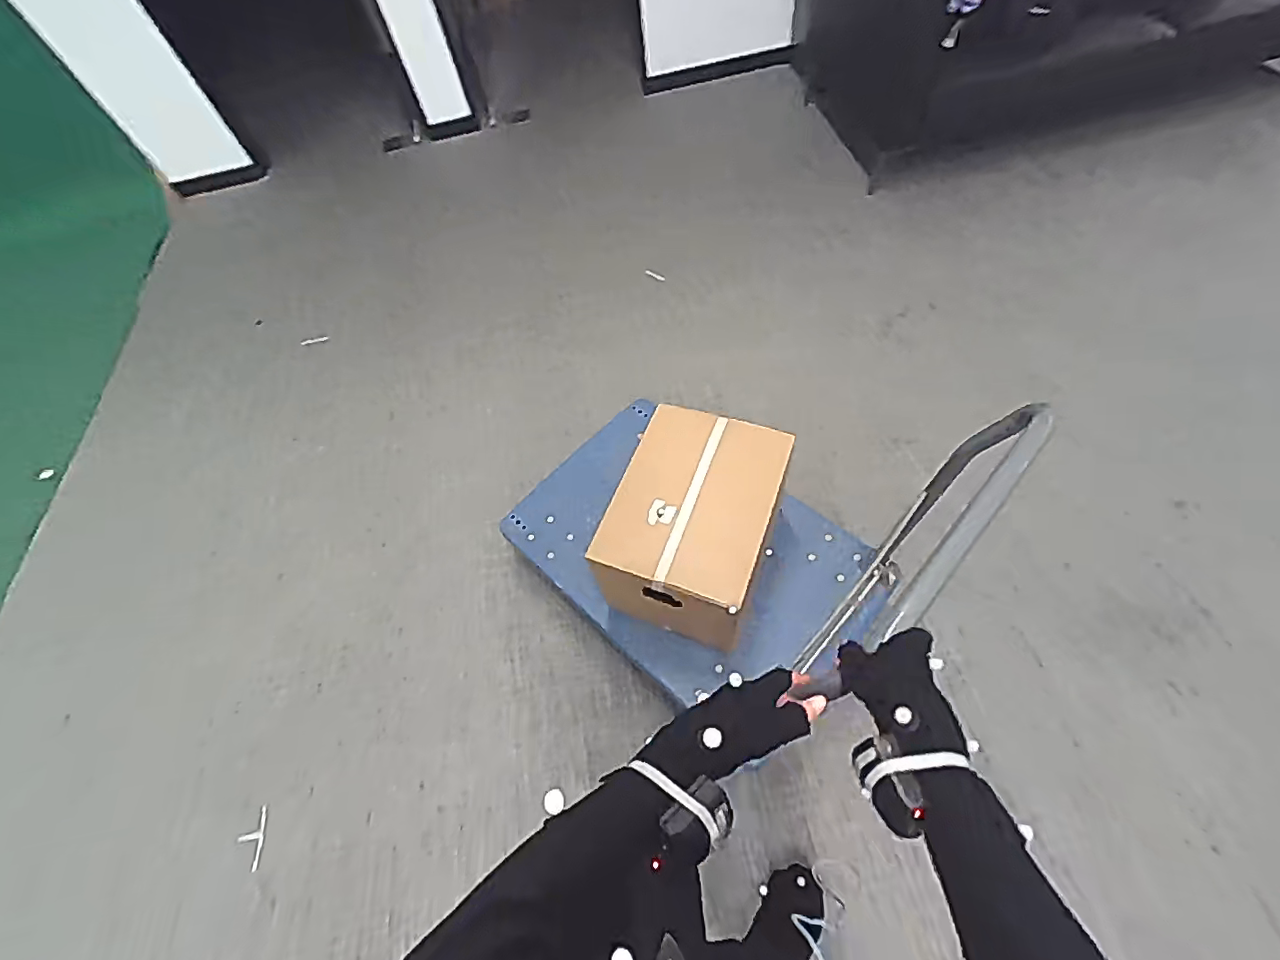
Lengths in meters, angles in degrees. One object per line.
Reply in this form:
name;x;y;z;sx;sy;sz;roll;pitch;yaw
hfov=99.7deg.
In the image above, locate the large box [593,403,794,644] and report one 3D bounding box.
large box;0.132;0.099;1.225;0.320;0.320;0.408;16;63;17
